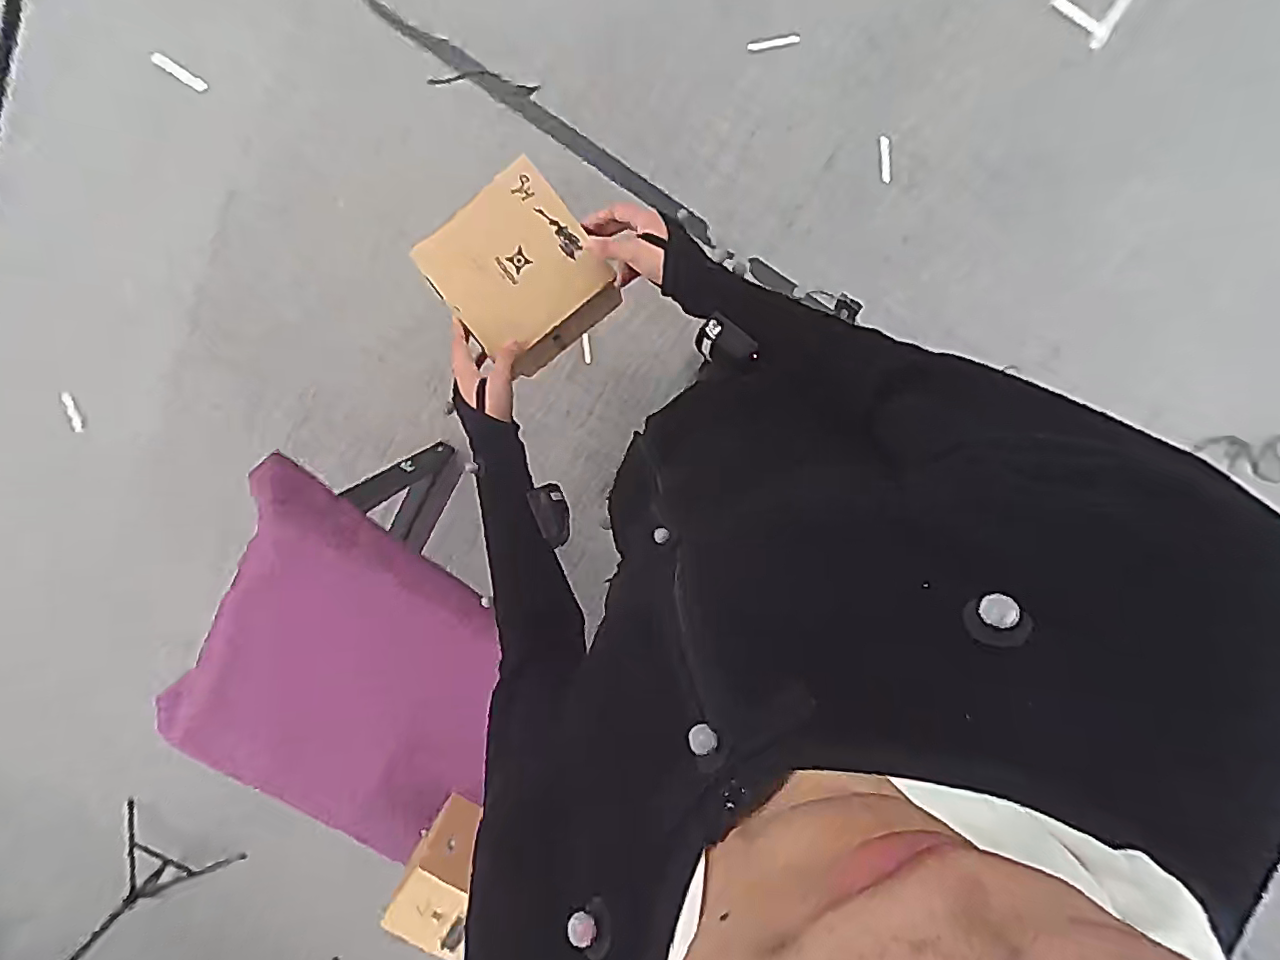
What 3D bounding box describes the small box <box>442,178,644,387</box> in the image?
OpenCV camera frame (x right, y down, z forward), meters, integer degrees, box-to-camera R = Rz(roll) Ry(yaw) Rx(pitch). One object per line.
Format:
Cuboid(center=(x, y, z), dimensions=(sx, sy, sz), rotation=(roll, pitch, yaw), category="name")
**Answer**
Cuboid(center=(-0.108, -0.232, 0.693), dimensions=(0.179, 0.176, 0.168), rotation=(-36, 94, 7), category="small box")
